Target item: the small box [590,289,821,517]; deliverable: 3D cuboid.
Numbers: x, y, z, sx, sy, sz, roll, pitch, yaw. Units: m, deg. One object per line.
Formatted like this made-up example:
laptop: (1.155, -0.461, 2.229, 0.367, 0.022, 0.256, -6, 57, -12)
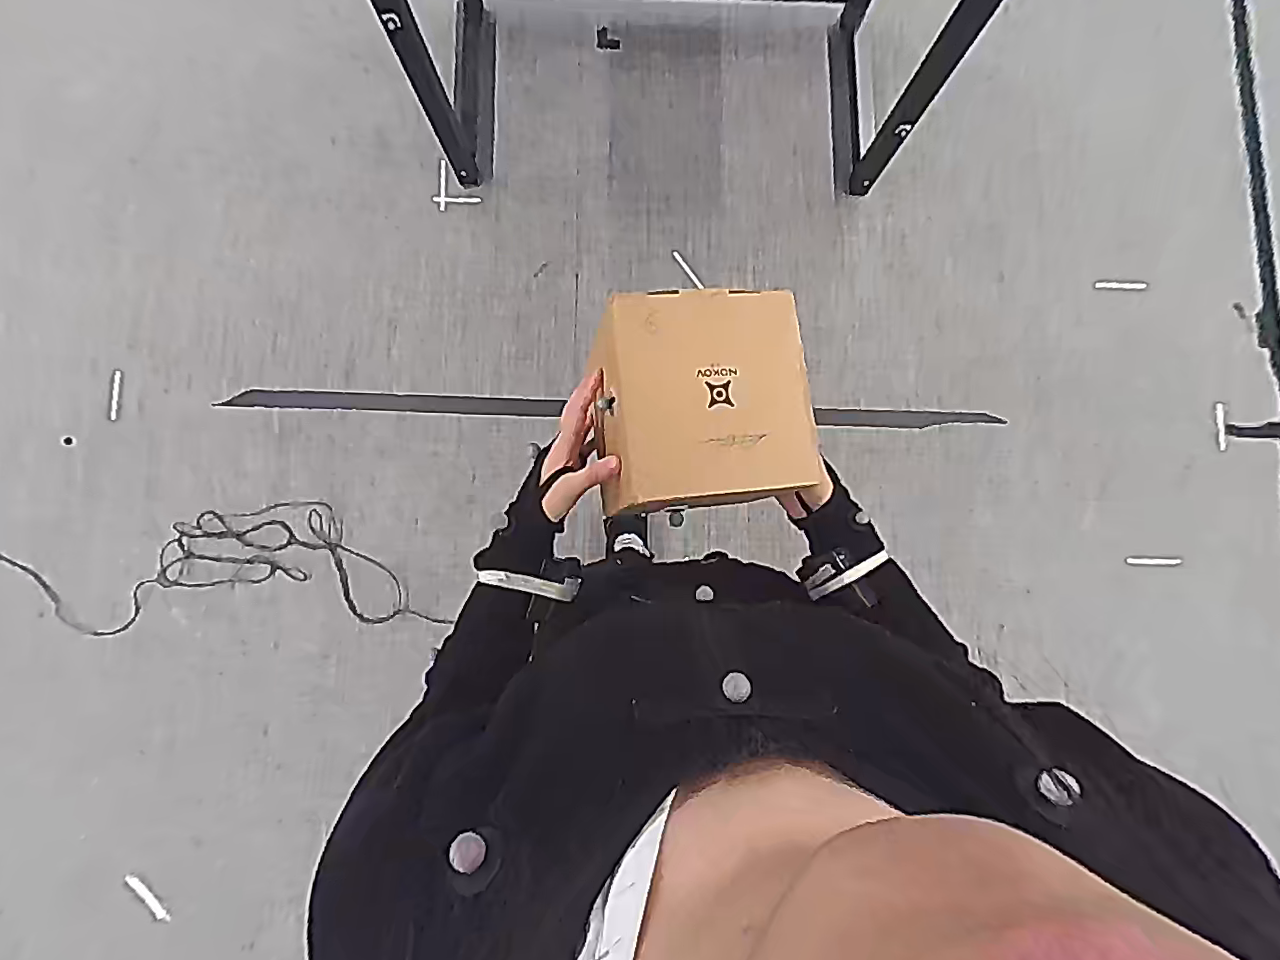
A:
small box: (0.048, -0.063, 0.522, 0.168, 0.176, 0.179, -5, 83, -13)
